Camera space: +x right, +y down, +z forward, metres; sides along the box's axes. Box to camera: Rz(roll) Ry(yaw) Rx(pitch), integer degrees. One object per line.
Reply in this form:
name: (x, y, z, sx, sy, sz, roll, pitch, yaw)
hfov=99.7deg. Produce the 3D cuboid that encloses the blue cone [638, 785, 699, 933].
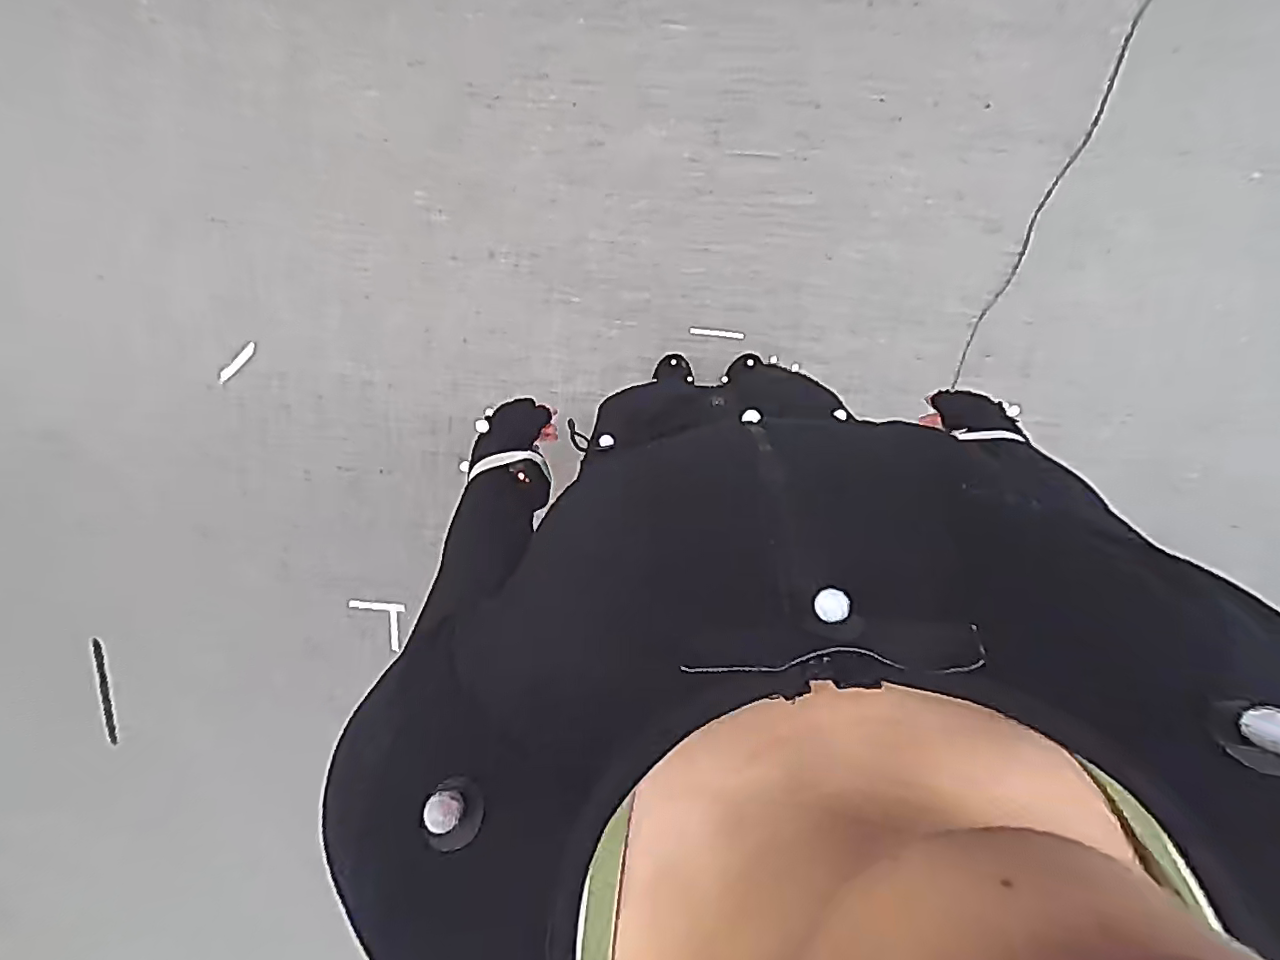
blue cone: (0.081, 1.089, 1.553, 0.193, 0.380, 0.192, 5, 103, 2)
